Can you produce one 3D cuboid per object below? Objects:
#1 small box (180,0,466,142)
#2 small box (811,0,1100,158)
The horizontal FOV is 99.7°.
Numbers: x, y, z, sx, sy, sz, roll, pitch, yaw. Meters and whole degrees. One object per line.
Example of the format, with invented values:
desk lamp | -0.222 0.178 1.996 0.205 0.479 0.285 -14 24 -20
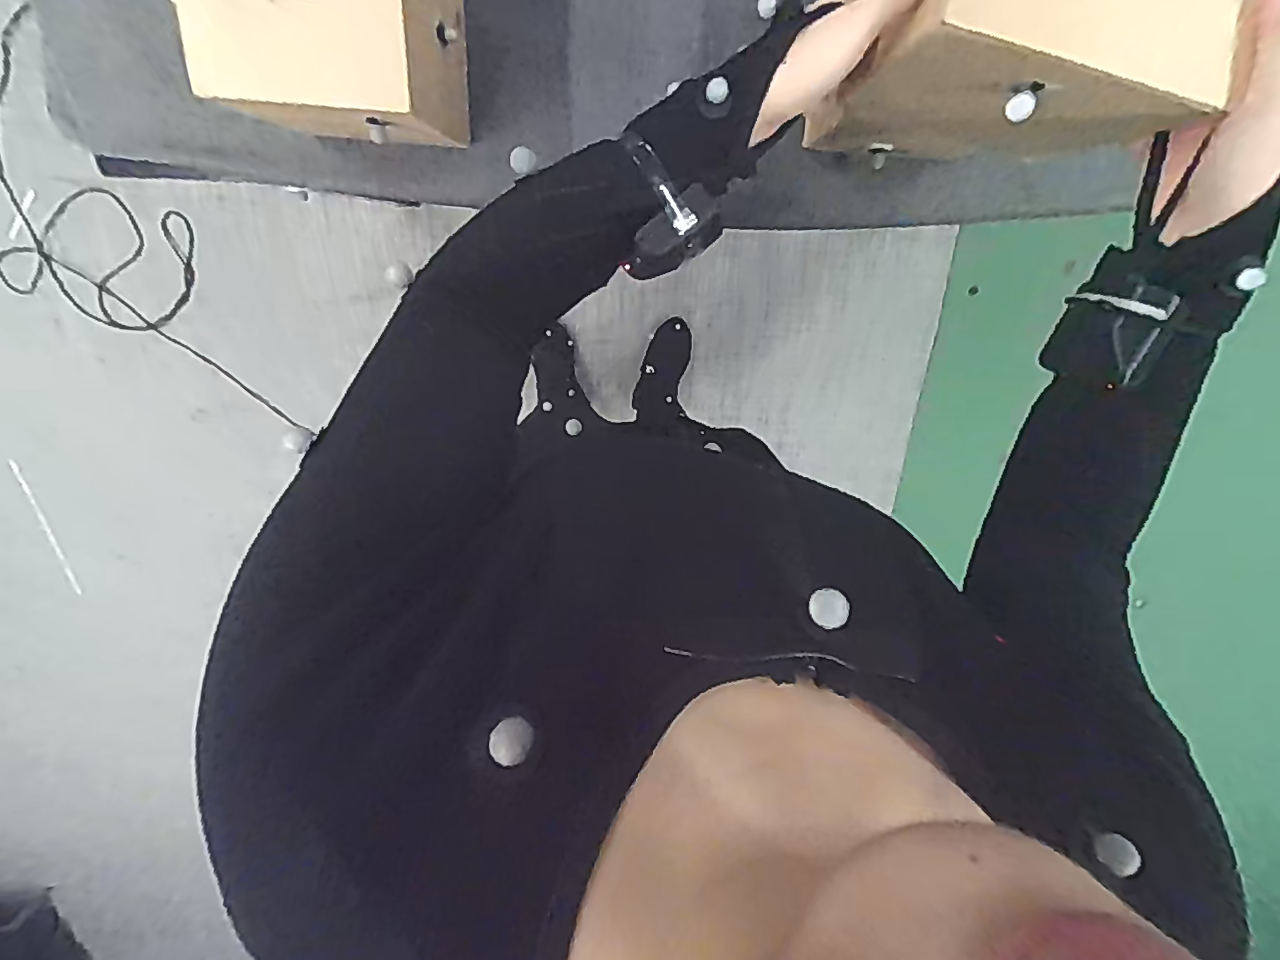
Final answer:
small box | -0.260 -0.410 0.476 0.179 0.176 0.168 4 113 -1
small box | 0.261 -0.399 0.472 0.168 0.176 0.179 4 113 1
